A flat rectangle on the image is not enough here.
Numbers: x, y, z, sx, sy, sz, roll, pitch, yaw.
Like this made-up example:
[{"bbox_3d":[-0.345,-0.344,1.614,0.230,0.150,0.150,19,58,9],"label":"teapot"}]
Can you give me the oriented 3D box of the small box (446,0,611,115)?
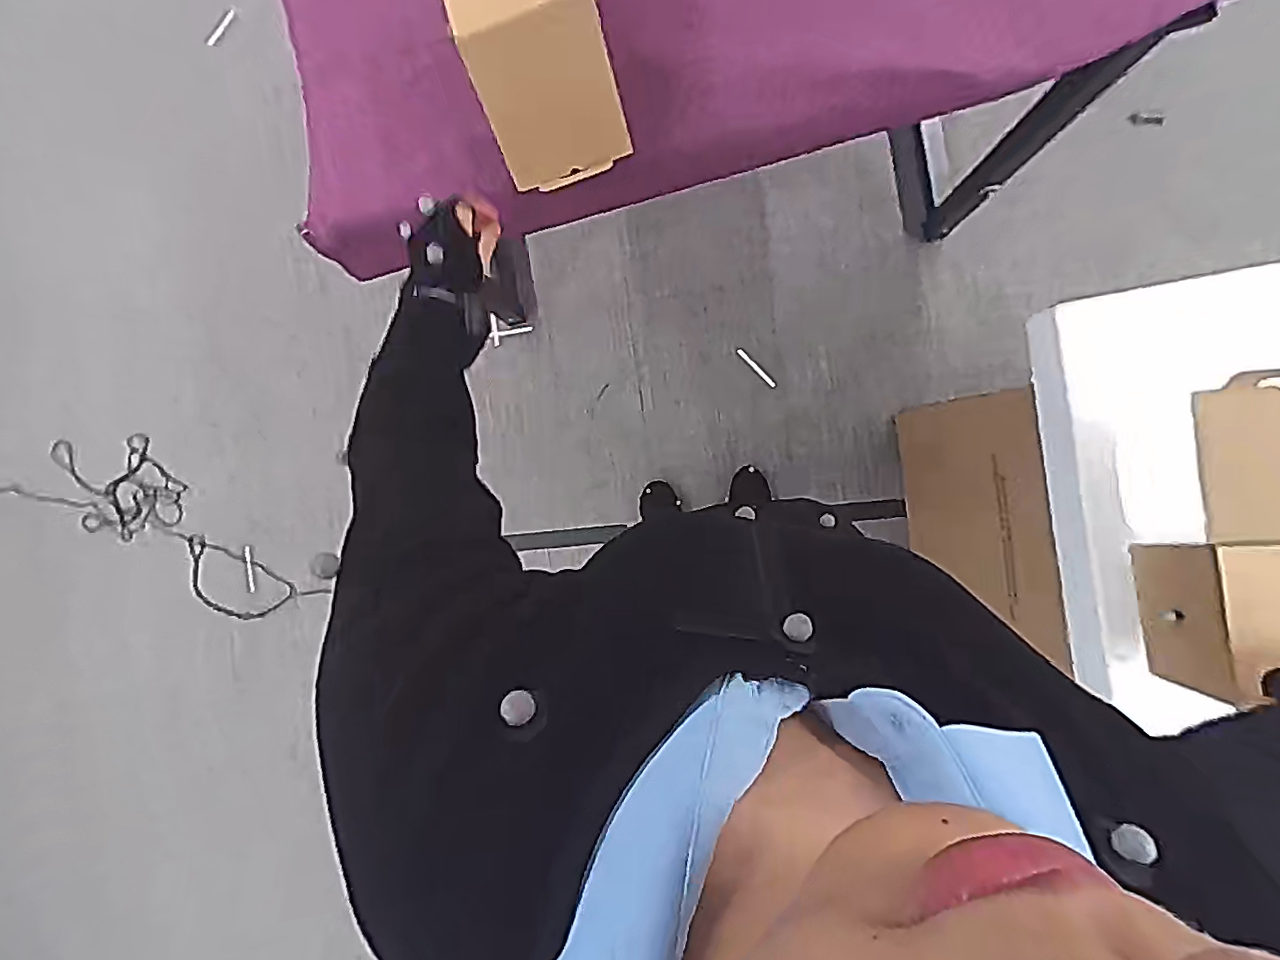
[{"bbox_3d":[-0.144,-0.609,0.689,0.168,0.176,0.179,-15,89,6],"label":"small box"}]
